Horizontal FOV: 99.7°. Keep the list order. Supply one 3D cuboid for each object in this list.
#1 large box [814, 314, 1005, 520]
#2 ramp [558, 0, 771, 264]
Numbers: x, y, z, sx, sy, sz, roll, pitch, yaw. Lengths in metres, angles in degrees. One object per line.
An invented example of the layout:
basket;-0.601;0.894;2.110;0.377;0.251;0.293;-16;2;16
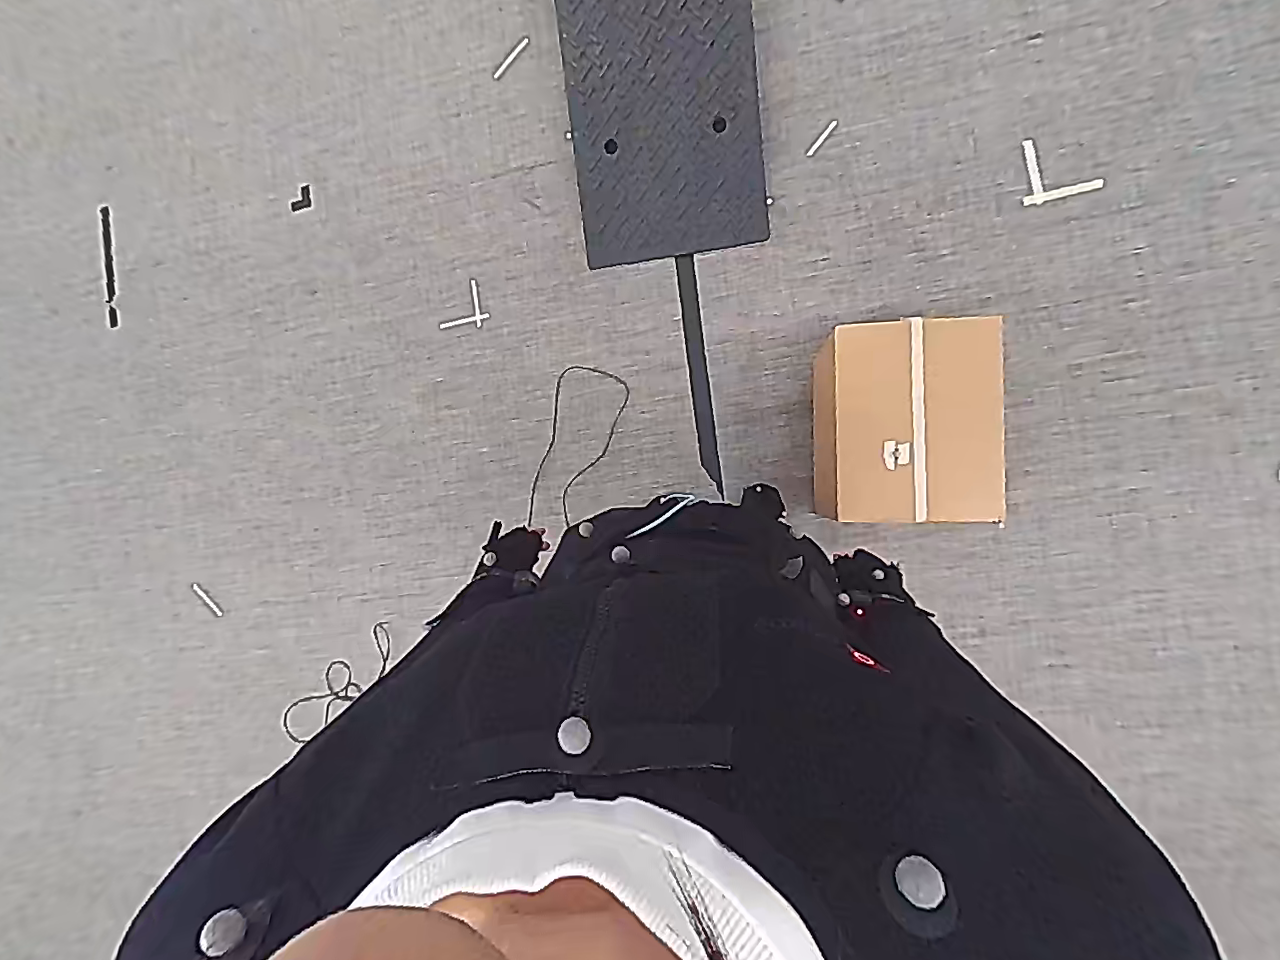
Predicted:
large box;0.579;-0.124;1.221;0.320;0.320;0.408;-1;90;11
ramp;0.048;-1.107;1.377;0.509;0.206;0.991;-7;89;9
